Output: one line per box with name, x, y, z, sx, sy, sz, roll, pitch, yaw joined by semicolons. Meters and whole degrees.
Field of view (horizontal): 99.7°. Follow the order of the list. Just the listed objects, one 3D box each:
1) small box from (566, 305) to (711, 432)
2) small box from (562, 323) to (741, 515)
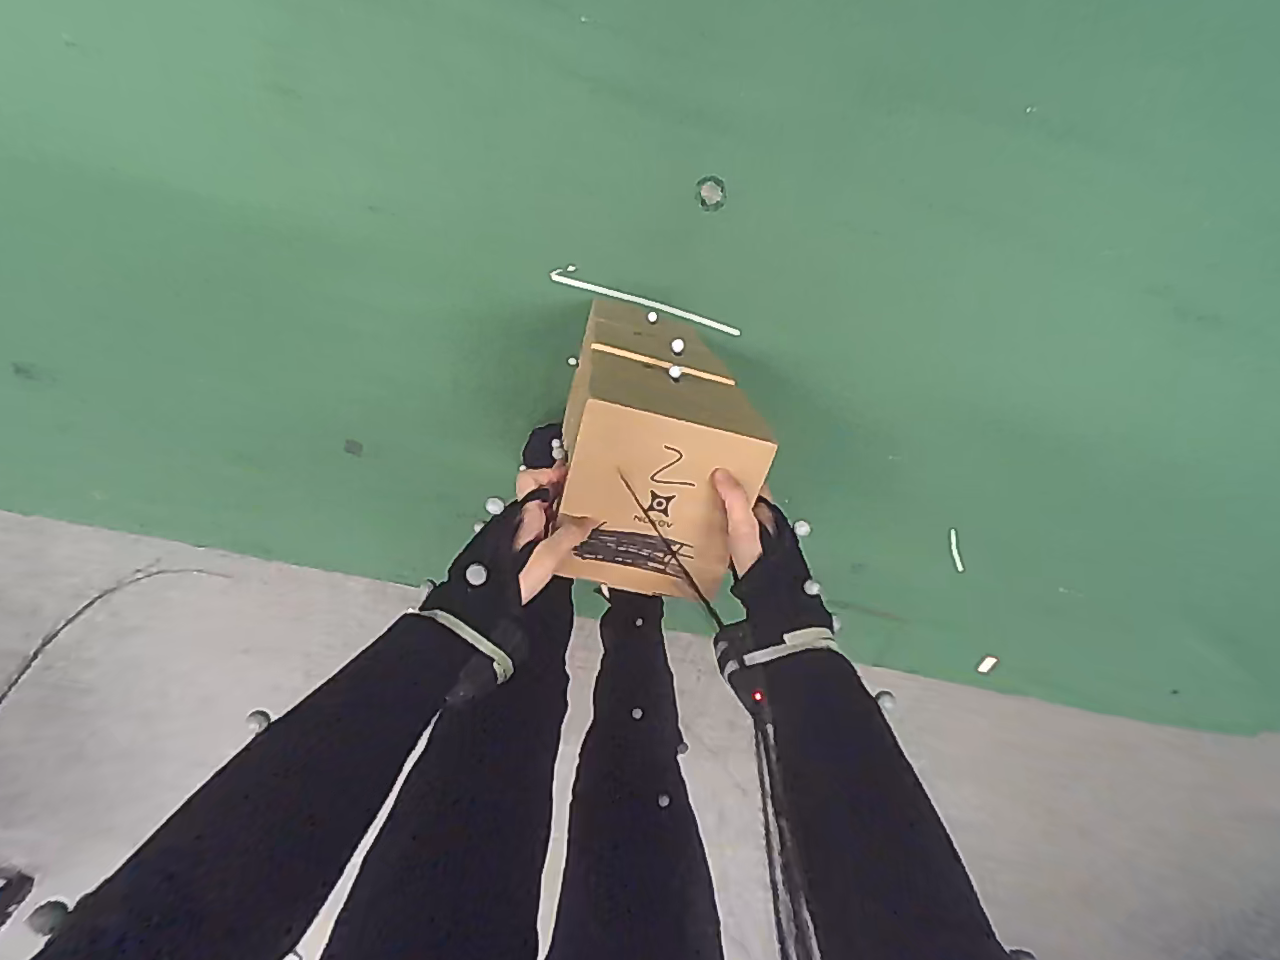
small box;-0.010;-0.153;0.830;0.168;0.176;0.179;16;114;-11
small box;0.003;-0.084;0.684;0.168;0.176;0.179;14;114;-11
